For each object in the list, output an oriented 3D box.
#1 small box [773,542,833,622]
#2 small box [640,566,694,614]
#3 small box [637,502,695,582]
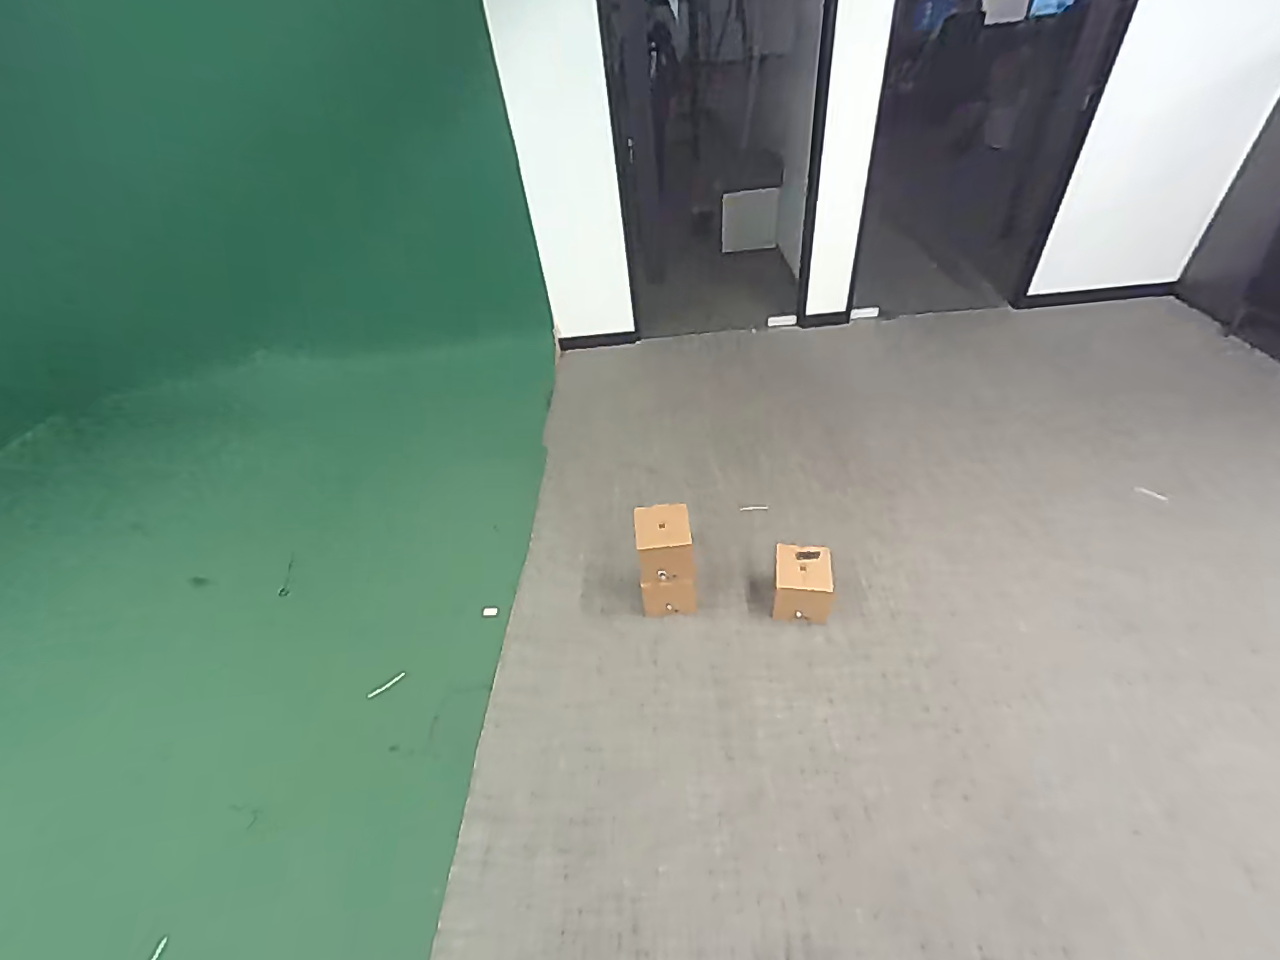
[{"bbox_3d":[0.509,0.322,1.706,0.168,0.176,0.179,3,43,12],"label":"small box"},{"bbox_3d":[0.086,0.314,1.775,0.168,0.176,0.179,-6,41,1],"label":"small box"},{"bbox_3d":[0.080,0.192,1.672,0.168,0.176,0.179,-6,39,4],"label":"small box"}]
